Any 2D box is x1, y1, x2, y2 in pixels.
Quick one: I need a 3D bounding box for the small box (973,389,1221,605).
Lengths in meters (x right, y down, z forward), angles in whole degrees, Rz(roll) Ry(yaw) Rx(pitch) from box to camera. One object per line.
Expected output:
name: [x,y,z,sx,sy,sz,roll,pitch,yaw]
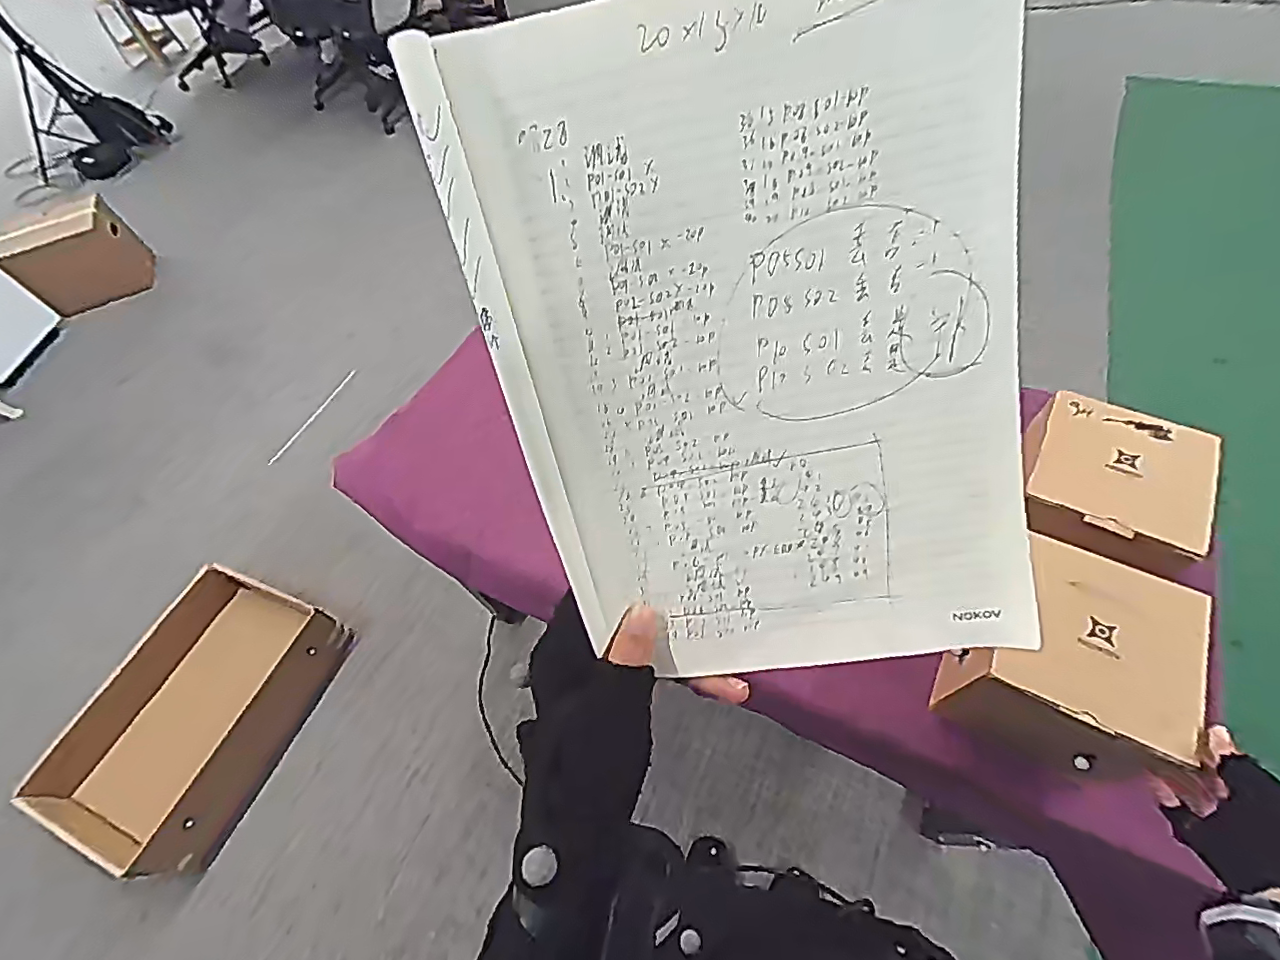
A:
small box: [0.544,0.026,0.668,0.168,0.176,0.179,26,65,21]
